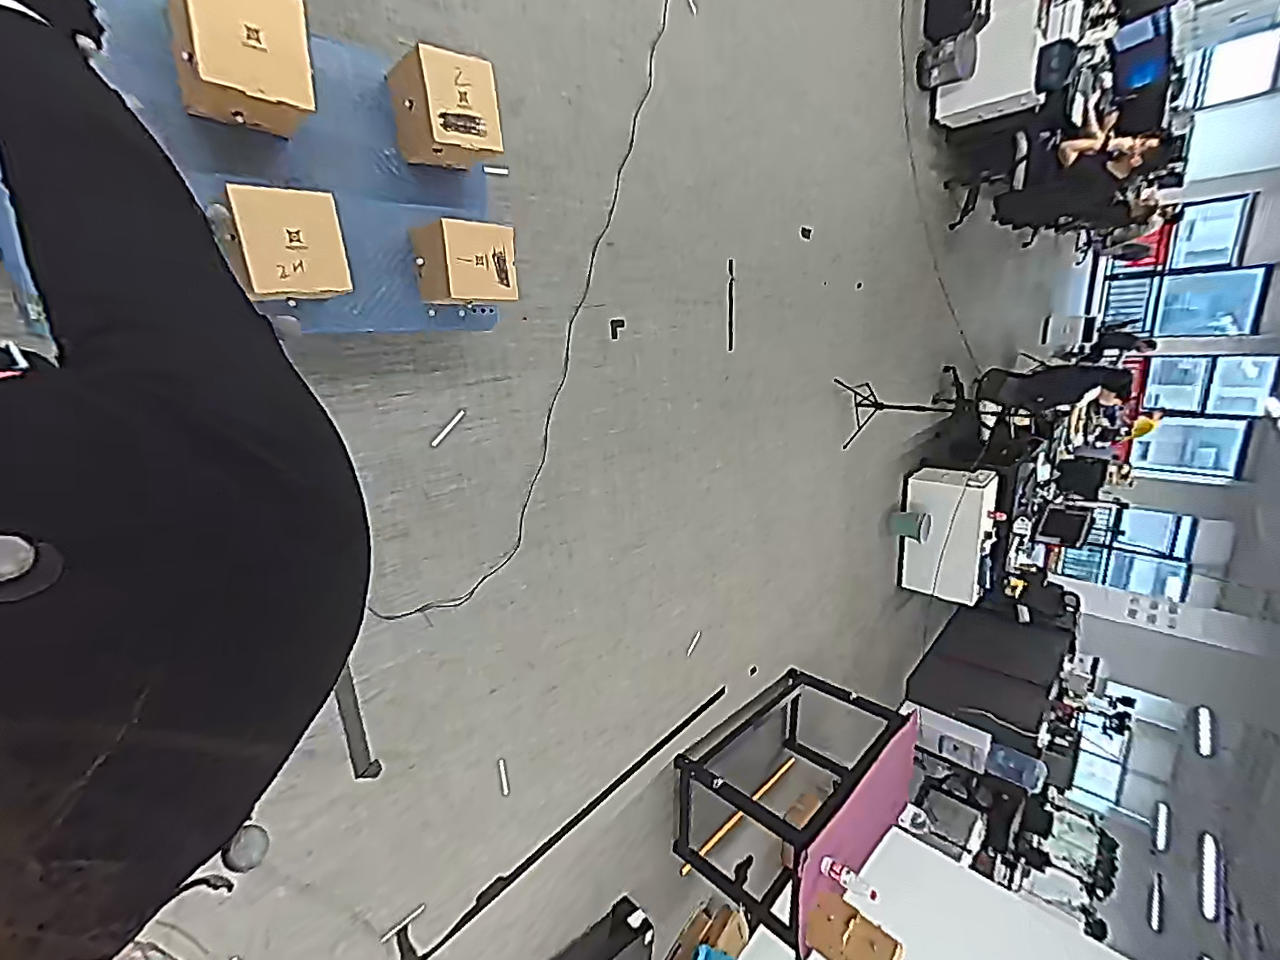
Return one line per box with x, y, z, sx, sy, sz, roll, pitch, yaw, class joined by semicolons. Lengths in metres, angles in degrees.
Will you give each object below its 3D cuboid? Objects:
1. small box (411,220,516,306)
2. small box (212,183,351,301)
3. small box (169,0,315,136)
-0.418;-0.505;1.282;0.179;0.176;0.168;-15;109;-42;small box
-0.680;-0.439;1.024;0.168;0.176;0.179;-19;113;-42;small box
-0.694;-0.737;0.943;0.168;0.176;0.179;-14;110;-44;small box
